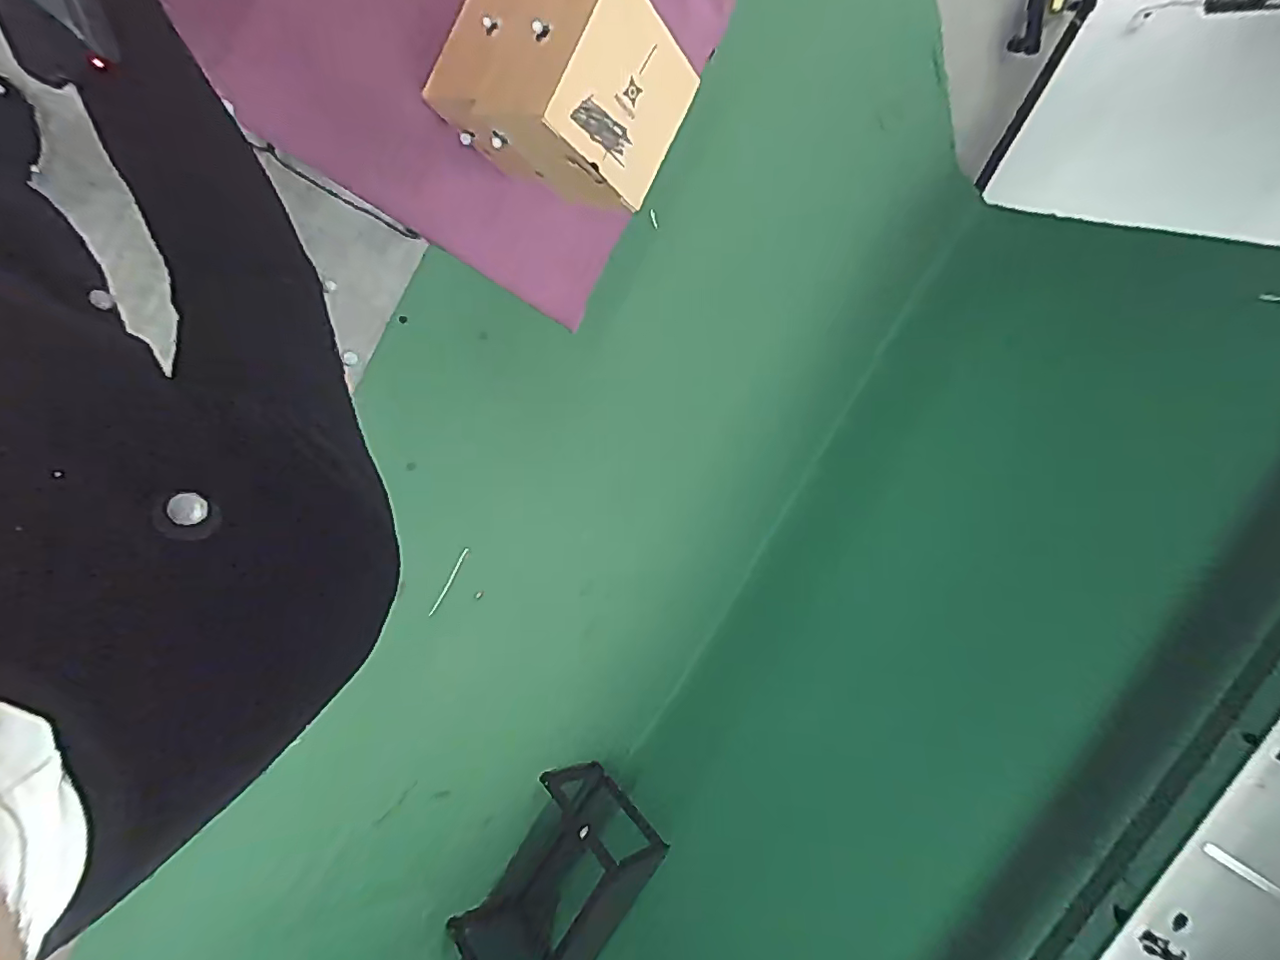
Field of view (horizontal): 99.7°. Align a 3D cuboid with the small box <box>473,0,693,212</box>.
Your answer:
[{"bbox_3d":[-0.075,-0.461,0.656,0.168,0.176,0.179,21,99,-52],"label":"small box"}]

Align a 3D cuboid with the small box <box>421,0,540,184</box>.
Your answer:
[{"bbox_3d":[-0.173,-0.550,0.755,0.168,0.176,0.179,25,97,-52],"label":"small box"}]
